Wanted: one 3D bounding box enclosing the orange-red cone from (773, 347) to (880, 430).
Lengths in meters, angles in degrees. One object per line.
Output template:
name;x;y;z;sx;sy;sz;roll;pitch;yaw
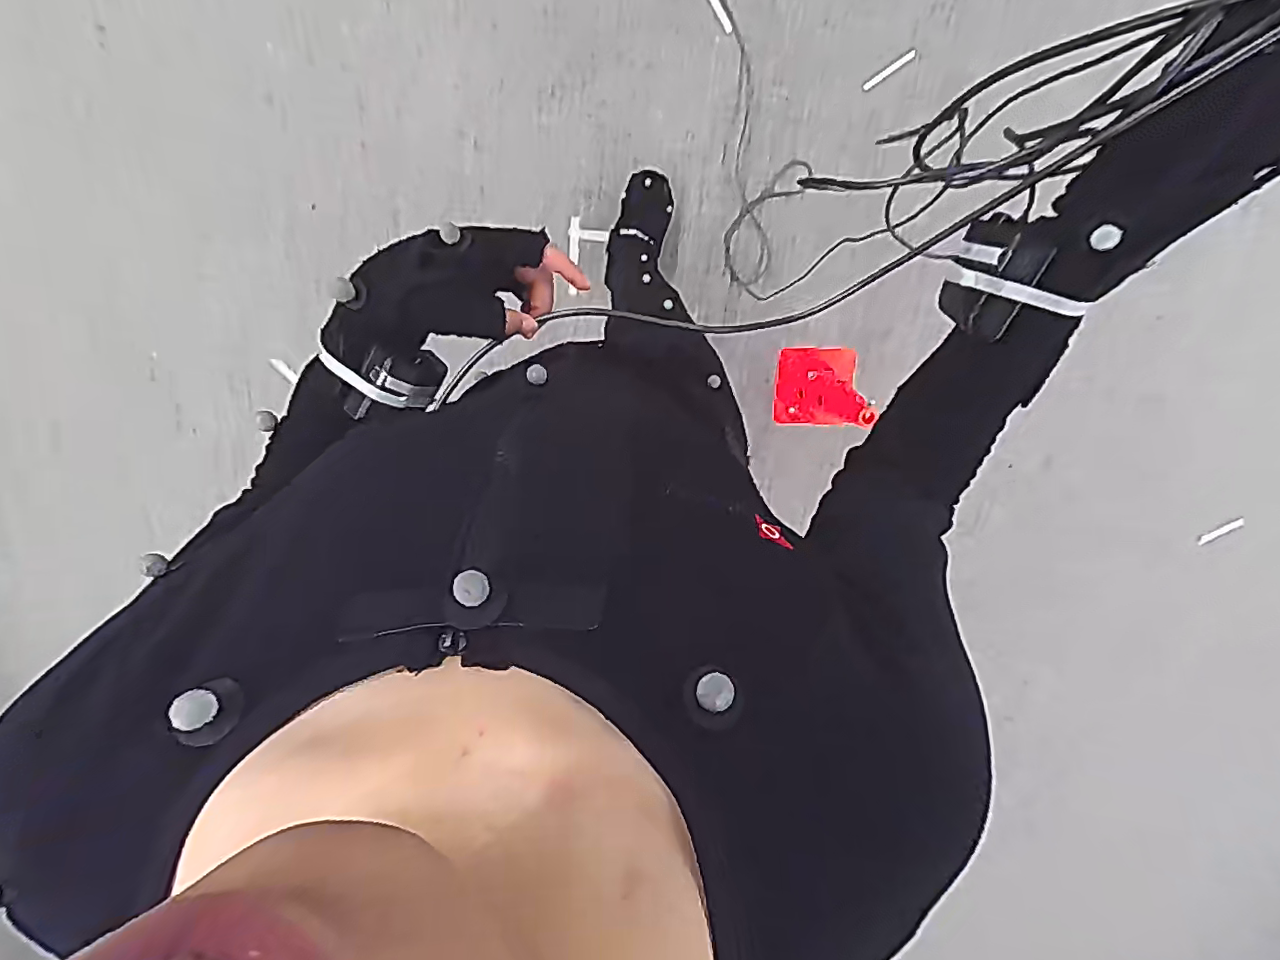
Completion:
orange-red cone;0.455;-0.180;1.230;0.199;0.360;0.198;2;111;-2
